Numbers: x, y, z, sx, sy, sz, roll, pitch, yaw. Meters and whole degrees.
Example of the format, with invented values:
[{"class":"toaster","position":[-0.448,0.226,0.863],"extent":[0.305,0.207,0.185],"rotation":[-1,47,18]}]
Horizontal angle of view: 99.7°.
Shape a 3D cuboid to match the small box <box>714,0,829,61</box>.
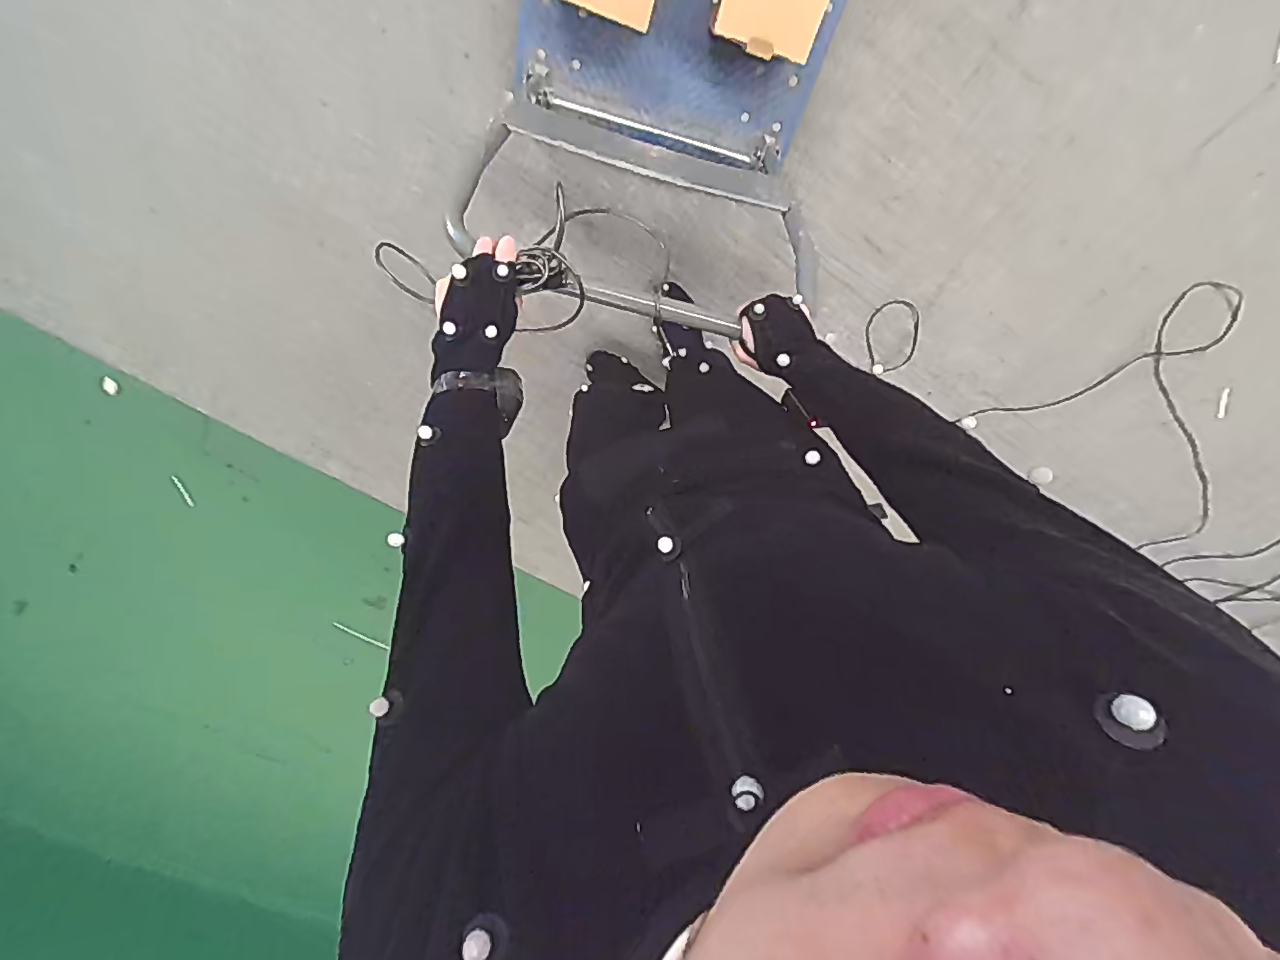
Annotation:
[{"class":"small box","position":[0.227,-0.837,0.897],"extent":[0.168,0.176,0.179],"rotation":[13,133,-8]}]
